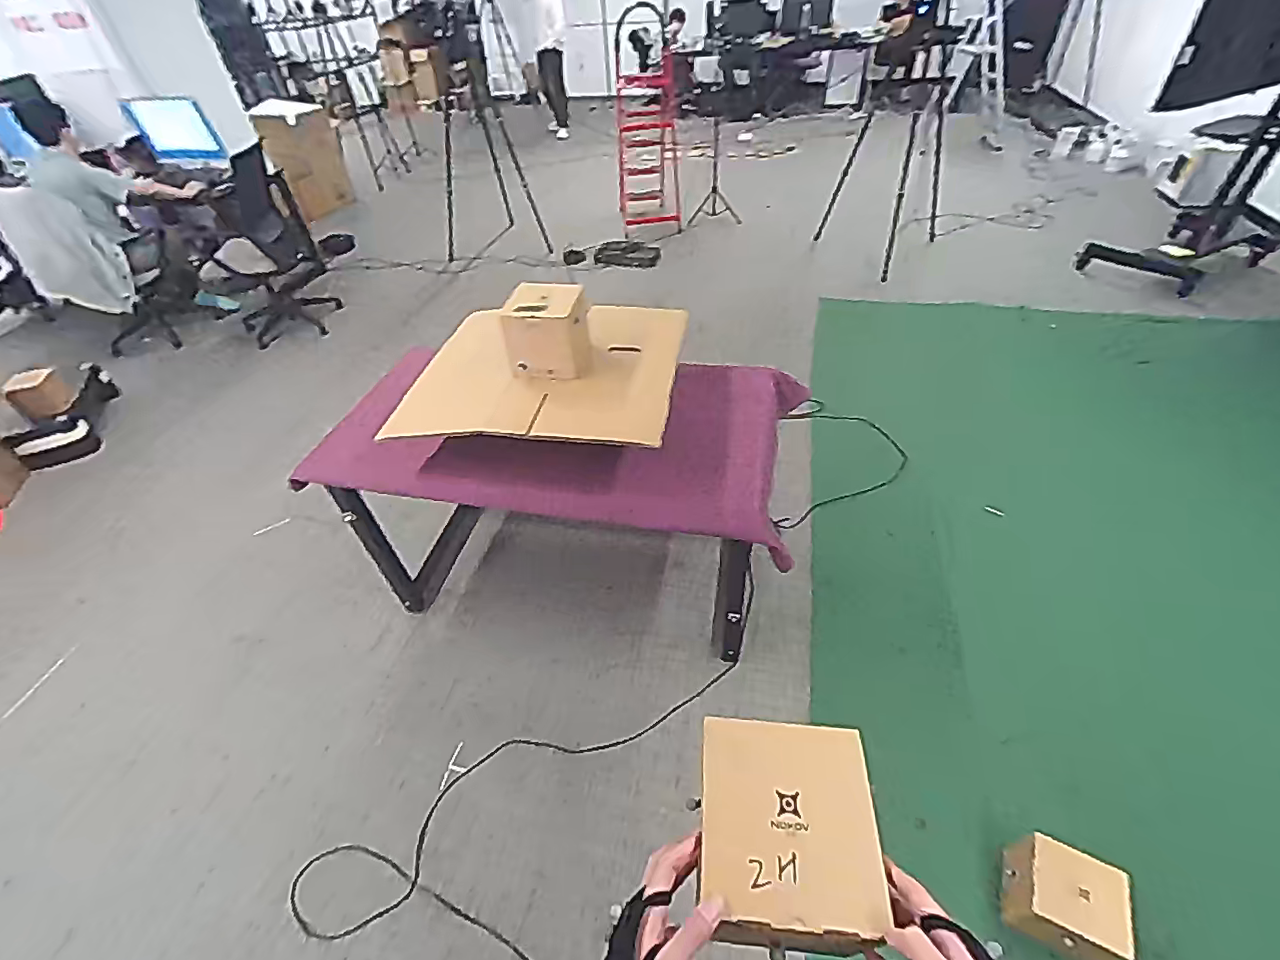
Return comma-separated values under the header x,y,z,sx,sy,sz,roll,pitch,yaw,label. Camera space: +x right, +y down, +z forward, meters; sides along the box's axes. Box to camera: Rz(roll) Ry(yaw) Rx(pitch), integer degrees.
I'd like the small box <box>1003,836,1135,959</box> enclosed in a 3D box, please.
x,y,z,sx,sy,sz,roll,pitch,yaw,label
0.937,0.933,1.192,0.179,0.176,0.168,18,48,23,small box

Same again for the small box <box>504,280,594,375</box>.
x,y,z,sx,sy,sz,roll,pitch,yaw,label
-0.215,-0.377,1.341,0.168,0.176,0.179,5,44,8,small box
